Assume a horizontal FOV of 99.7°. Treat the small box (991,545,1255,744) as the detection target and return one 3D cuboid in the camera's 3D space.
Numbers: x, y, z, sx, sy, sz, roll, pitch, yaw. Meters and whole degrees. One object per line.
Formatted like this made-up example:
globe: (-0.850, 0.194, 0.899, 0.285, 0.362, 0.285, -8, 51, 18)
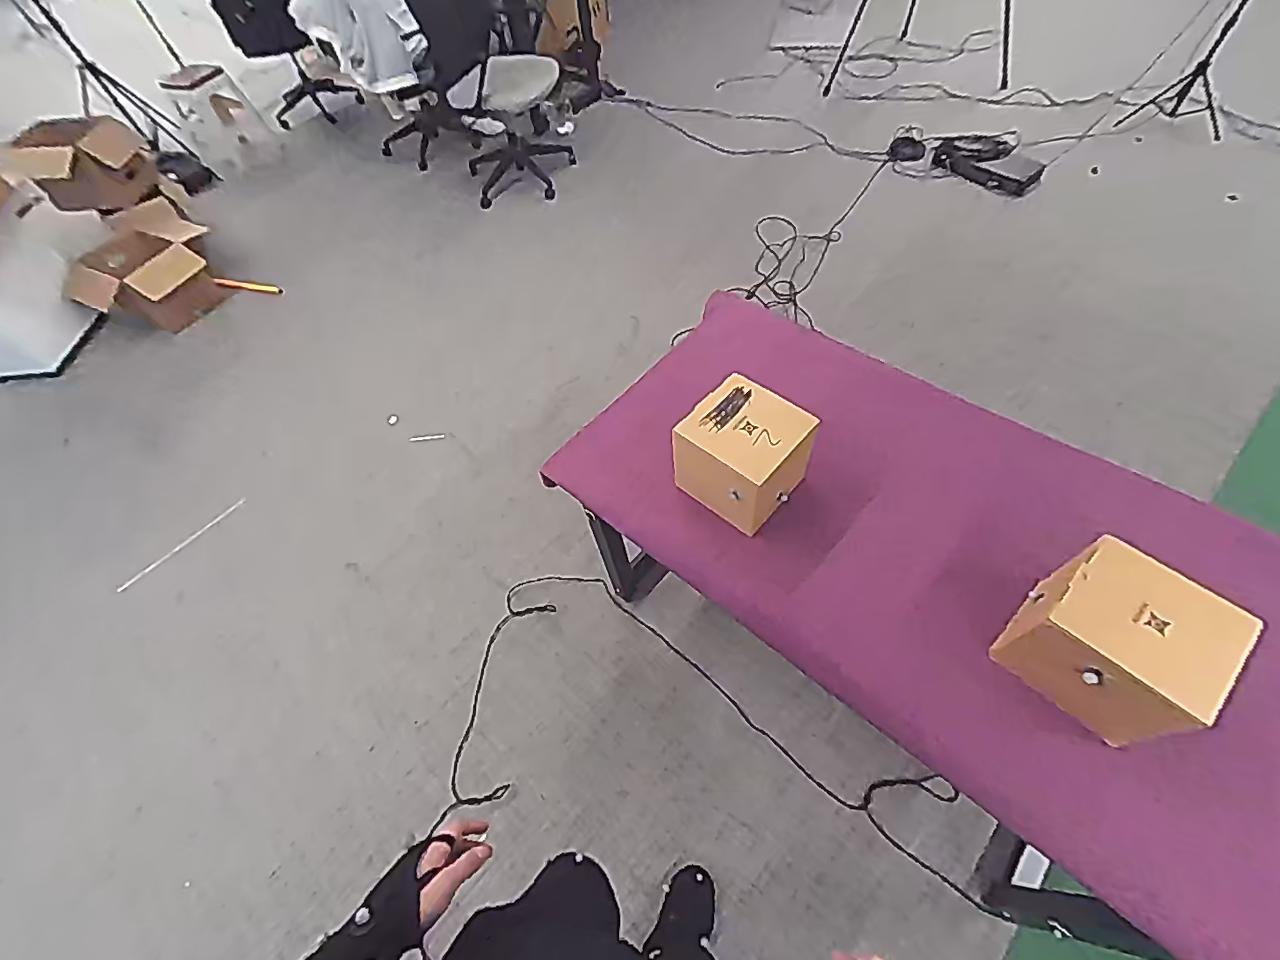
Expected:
small box: (0.623, 0.226, 0.722, 0.168, 0.176, 0.179, -40, 60, -19)
